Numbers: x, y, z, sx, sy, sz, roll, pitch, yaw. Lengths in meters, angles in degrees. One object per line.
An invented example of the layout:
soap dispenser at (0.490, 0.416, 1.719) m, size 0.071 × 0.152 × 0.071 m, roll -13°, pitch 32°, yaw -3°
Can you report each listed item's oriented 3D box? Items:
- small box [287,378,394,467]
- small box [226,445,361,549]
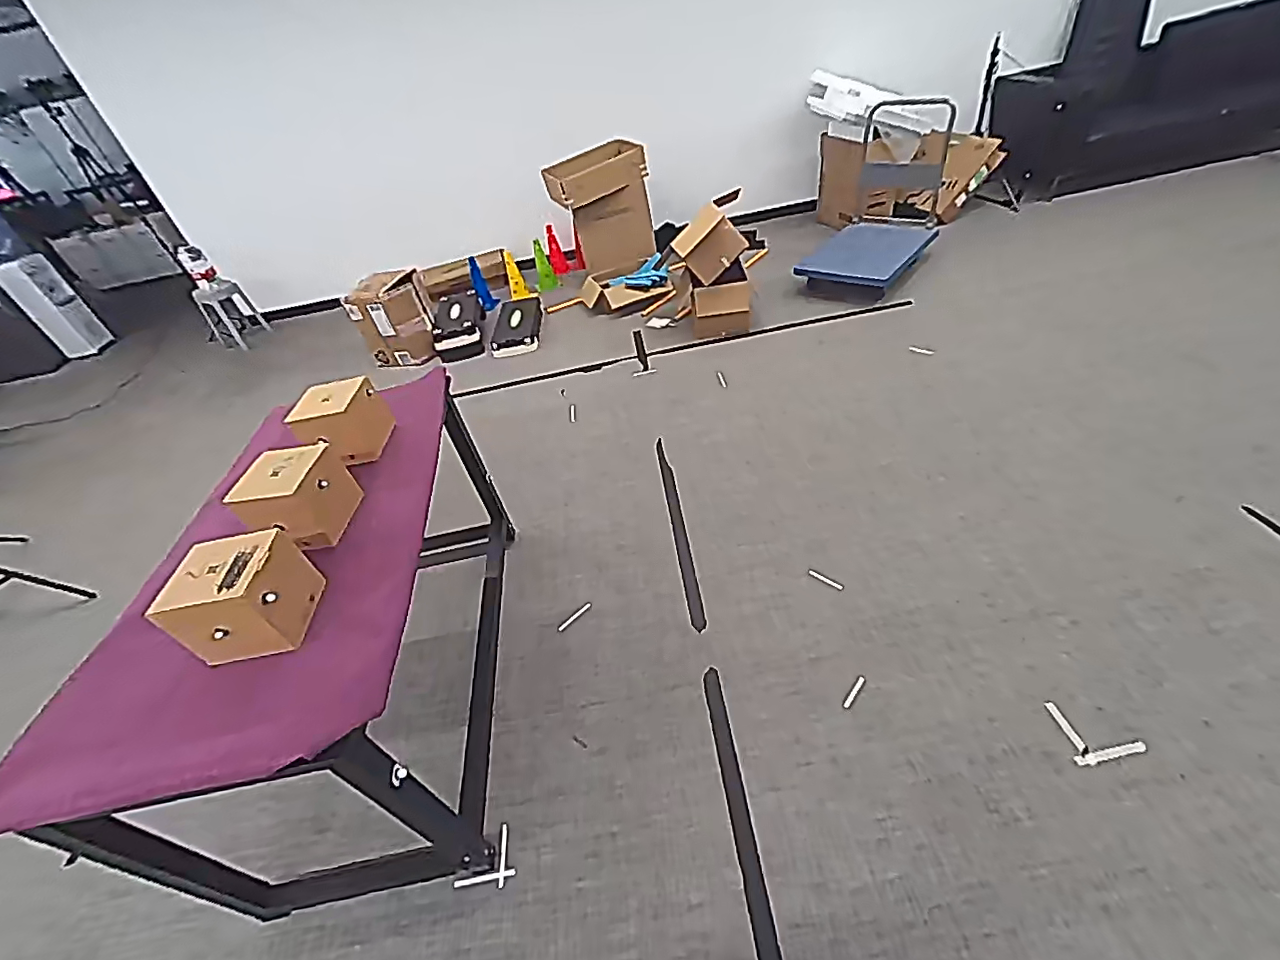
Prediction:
small box at (-0.799, -0.148, 1.465) m, size 0.168 × 0.176 × 0.179 m, roll -10°, pitch 40°, yaw 4°
small box at (-0.776, 0.045, 1.237) m, size 0.168 × 0.176 × 0.179 m, roll -6°, pitch 40°, yaw 6°
